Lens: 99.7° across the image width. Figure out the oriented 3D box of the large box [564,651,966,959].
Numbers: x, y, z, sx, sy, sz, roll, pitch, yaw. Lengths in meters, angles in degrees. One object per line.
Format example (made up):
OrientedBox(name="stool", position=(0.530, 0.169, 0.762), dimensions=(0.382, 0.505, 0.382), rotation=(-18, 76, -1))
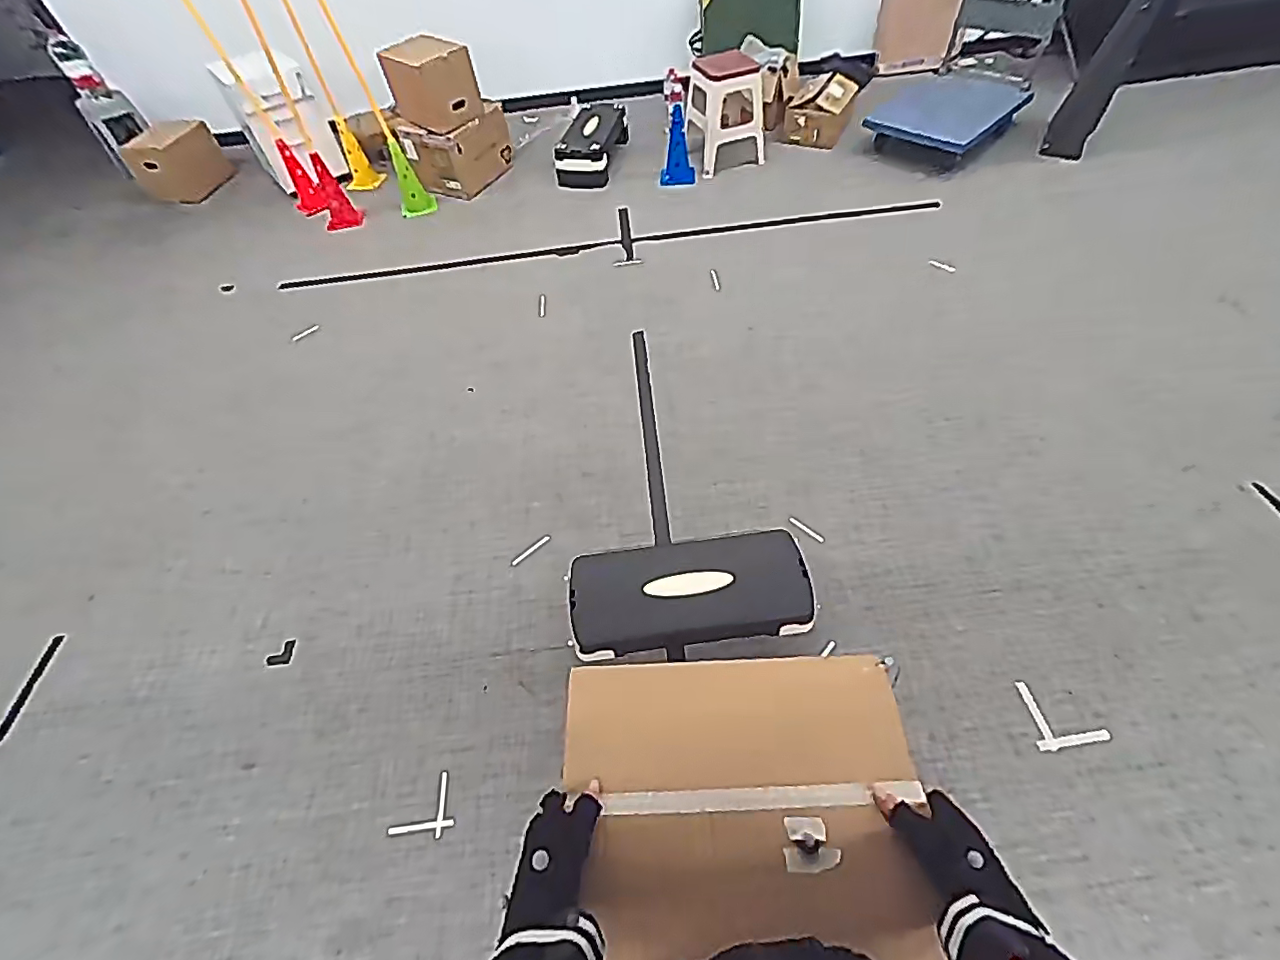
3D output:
OrientedBox(name="large box", position=(0.124, 0.449, 0.736), dimensions=(0.408, 0.320, 0.320), rotation=(-3, 52, 2))
